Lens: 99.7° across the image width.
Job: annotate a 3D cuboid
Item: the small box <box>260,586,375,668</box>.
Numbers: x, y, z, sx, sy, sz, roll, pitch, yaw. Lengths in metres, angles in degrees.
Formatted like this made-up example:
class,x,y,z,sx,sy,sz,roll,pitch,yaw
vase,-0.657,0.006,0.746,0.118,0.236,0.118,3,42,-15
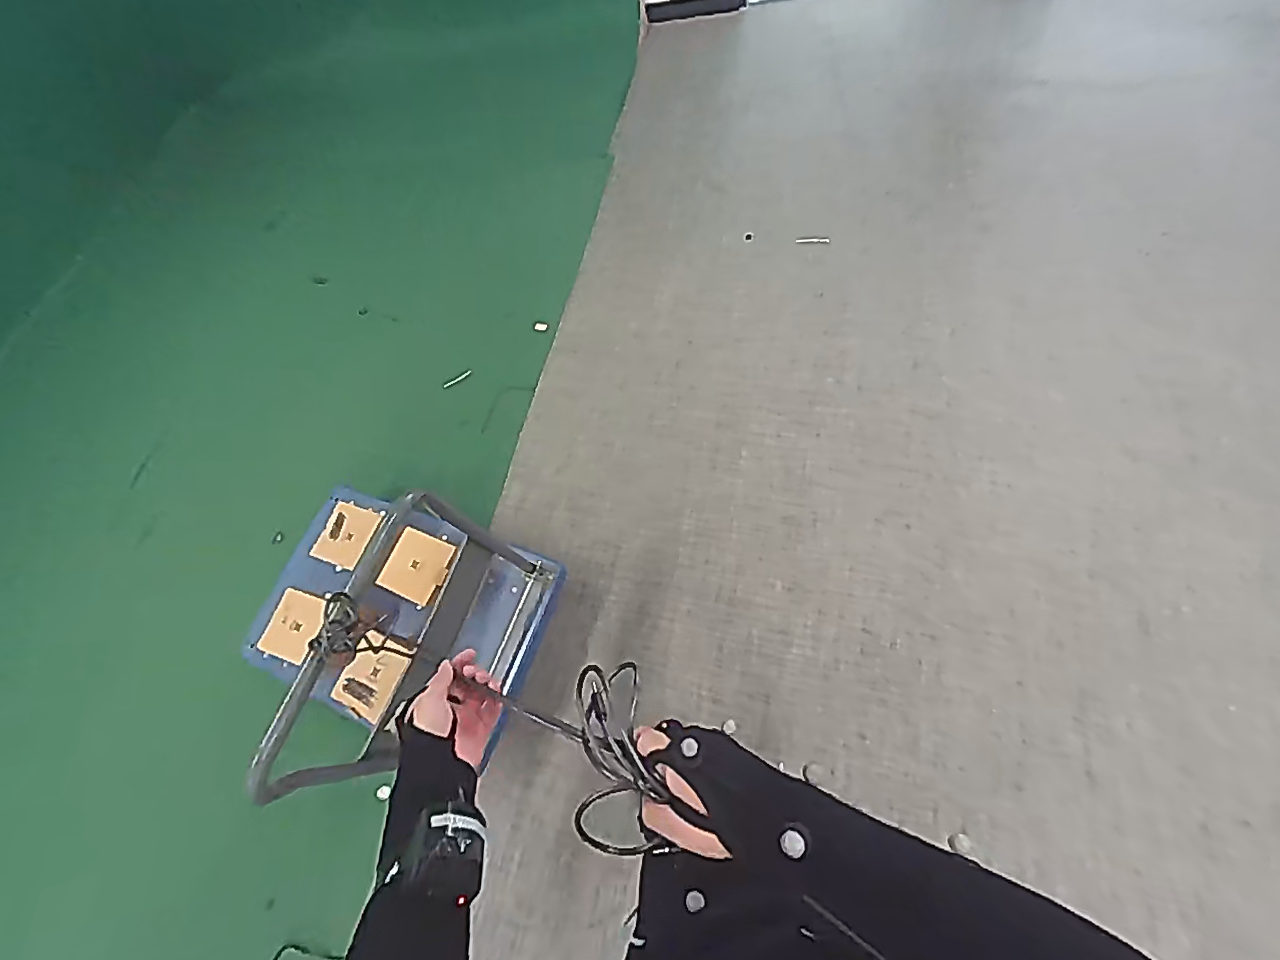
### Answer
class,x,y,z,sx,sy,sz,roll,pitch,yaw
small box,-0.865,0.404,1.470,0.179,0.176,0.168,12,70,19

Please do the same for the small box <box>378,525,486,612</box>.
class,x,y,z,sx,sy,sz,roll,pitch,yaw
small box,-0.553,0.245,1.459,0.179,0.176,0.168,18,73,20

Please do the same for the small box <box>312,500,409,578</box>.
class,x,y,z,sx,sy,sz,roll,pitch,yaw
small box,-0.773,0.176,1.543,0.179,0.176,0.168,15,73,19
